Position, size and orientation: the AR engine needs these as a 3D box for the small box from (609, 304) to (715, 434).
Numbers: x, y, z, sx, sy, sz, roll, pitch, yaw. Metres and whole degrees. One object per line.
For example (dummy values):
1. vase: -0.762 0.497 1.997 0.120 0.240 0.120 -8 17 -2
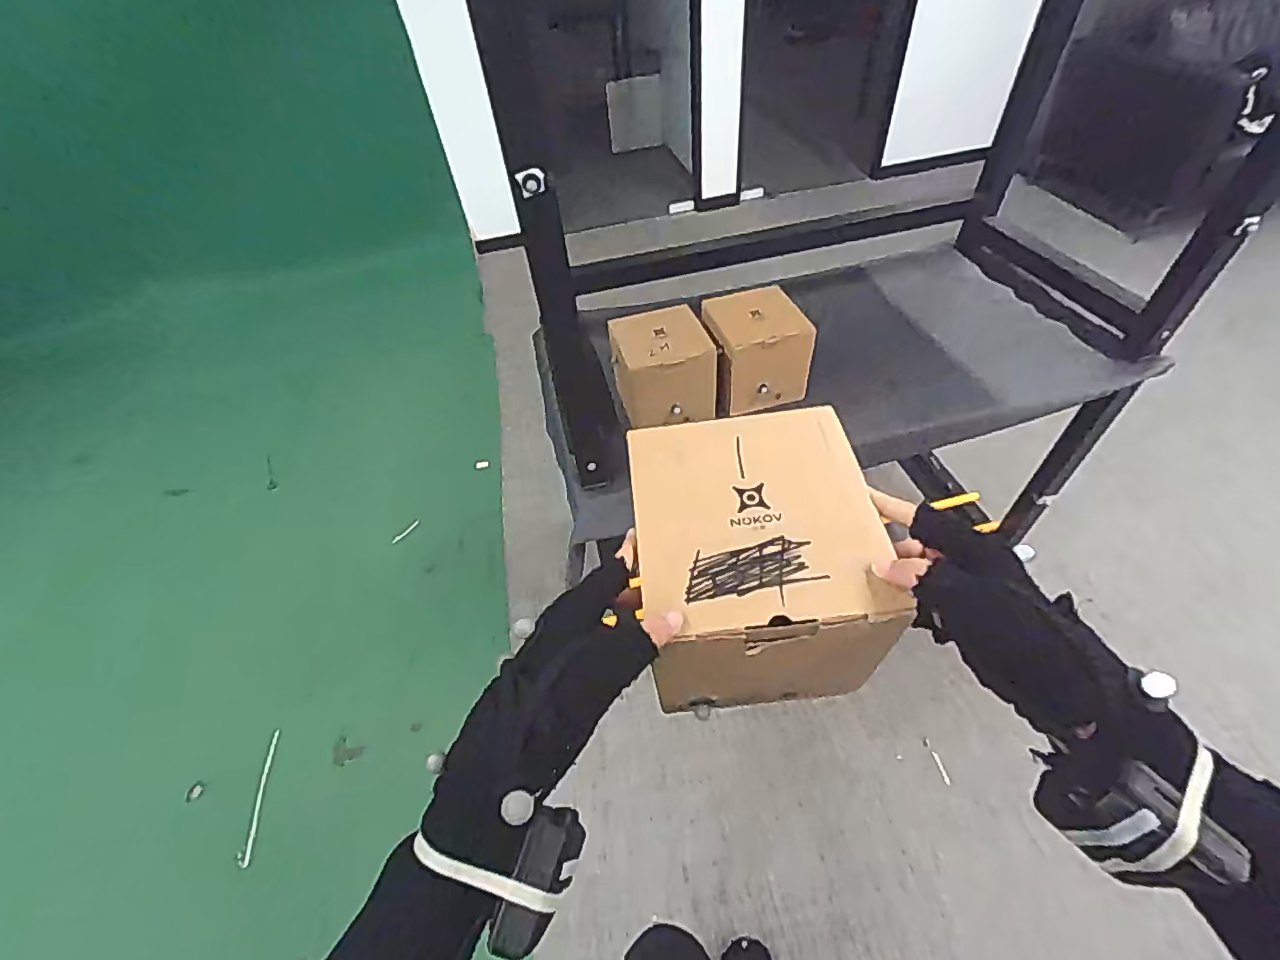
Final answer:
1. small box: 0.042 -0.219 1.072 0.168 0.176 0.179 -15 48 -6
